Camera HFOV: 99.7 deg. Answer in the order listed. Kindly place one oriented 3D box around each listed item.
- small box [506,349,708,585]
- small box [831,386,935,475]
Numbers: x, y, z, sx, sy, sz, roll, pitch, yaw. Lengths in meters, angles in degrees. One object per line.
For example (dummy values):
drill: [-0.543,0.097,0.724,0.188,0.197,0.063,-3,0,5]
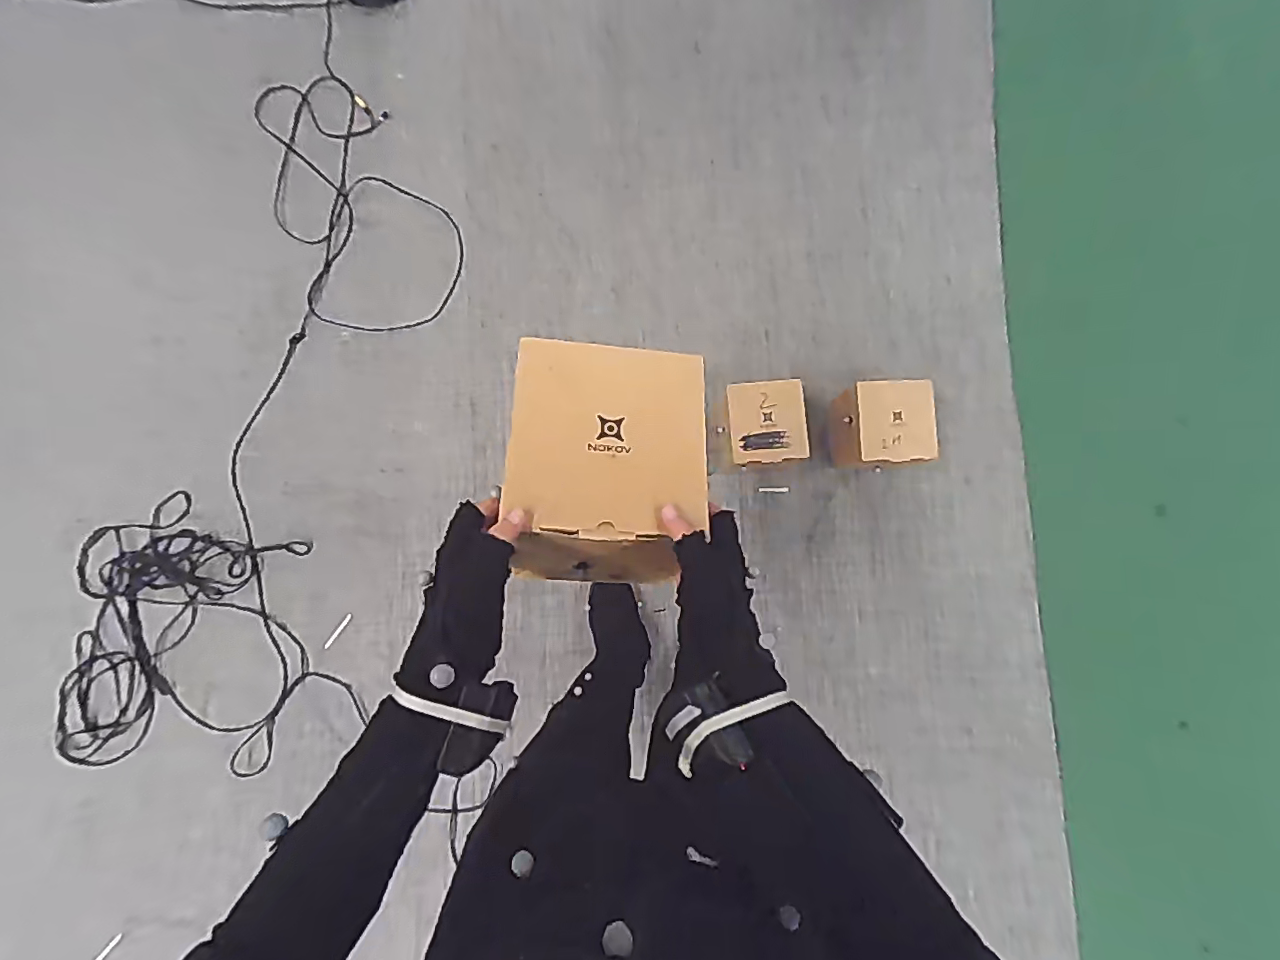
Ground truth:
small box: [-0.035,-0.003,0.537,0.168,0.176,0.179,3,68,-7]
small box: [0.551,-0.109,1.247,0.168,0.176,0.179,-2,85,1]
